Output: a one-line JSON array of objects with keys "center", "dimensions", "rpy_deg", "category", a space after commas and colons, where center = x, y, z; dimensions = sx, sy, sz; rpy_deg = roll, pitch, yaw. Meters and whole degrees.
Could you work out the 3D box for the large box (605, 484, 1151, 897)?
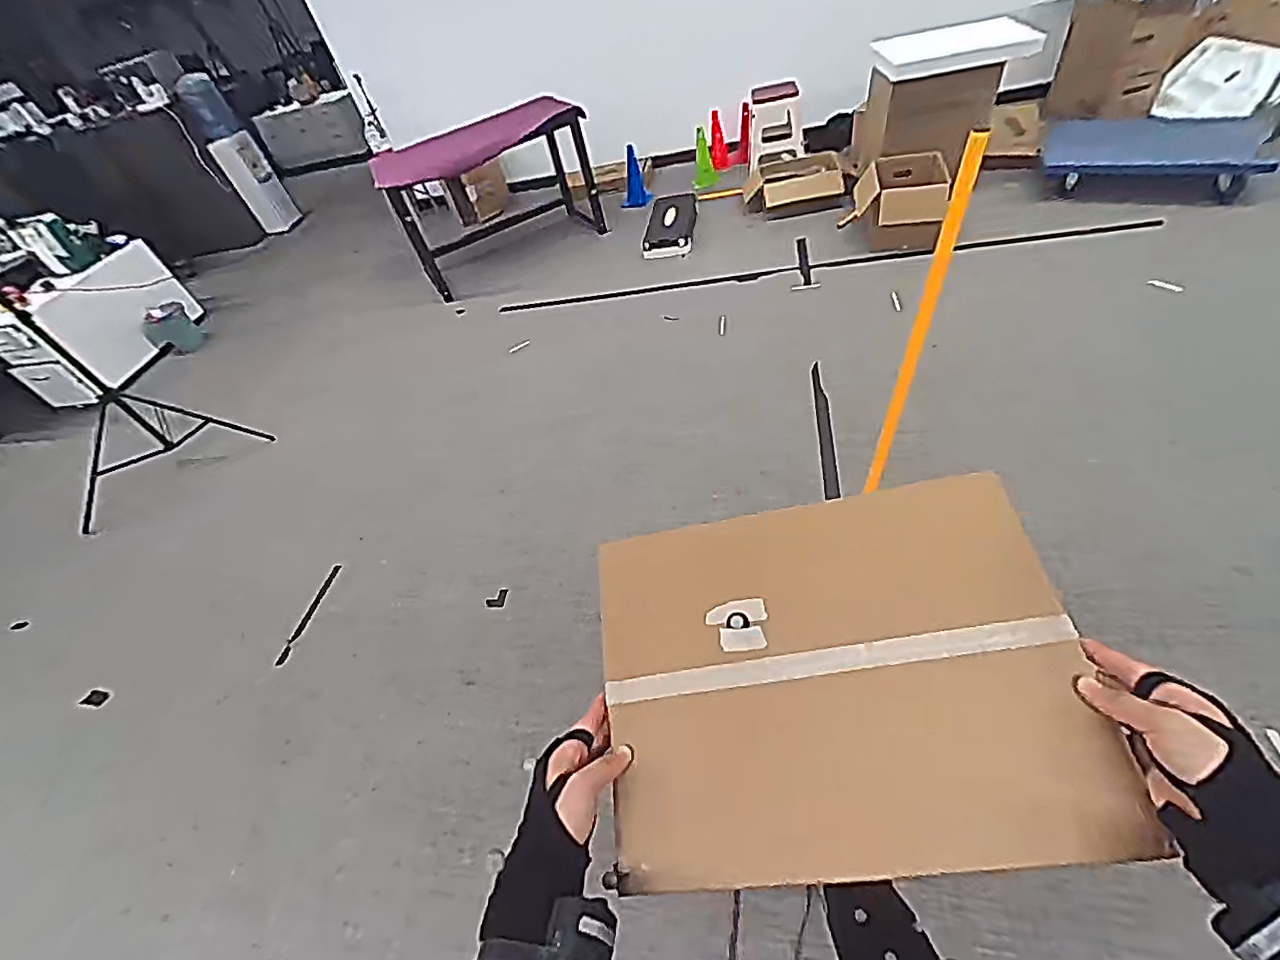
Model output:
[{"center": [0.206, 0.246, 0.622], "dimensions": [0.408, 0.320, 0.320], "rpy_deg": [-13, 58, 10], "category": "large box"}]
